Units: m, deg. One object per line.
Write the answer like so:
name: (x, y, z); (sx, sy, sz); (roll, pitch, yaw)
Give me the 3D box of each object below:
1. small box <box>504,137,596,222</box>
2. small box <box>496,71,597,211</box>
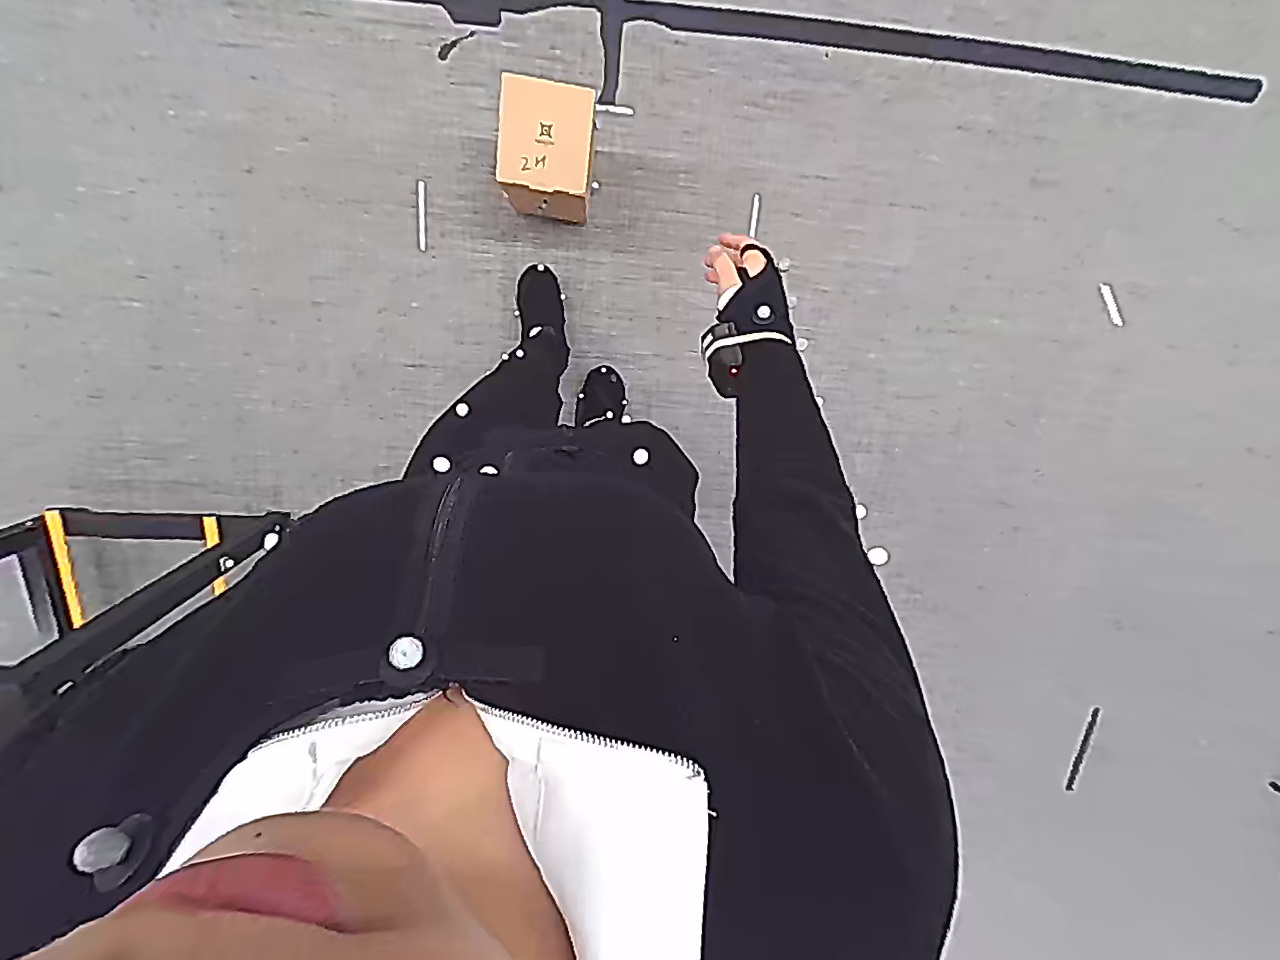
small box: (-0.195, -0.685, 1.200); (0.179, 0.176, 0.168); (7, 107, -7)
small box: (-0.175, -0.640, 1.043); (0.168, 0.176, 0.179); (7, 107, -6)
